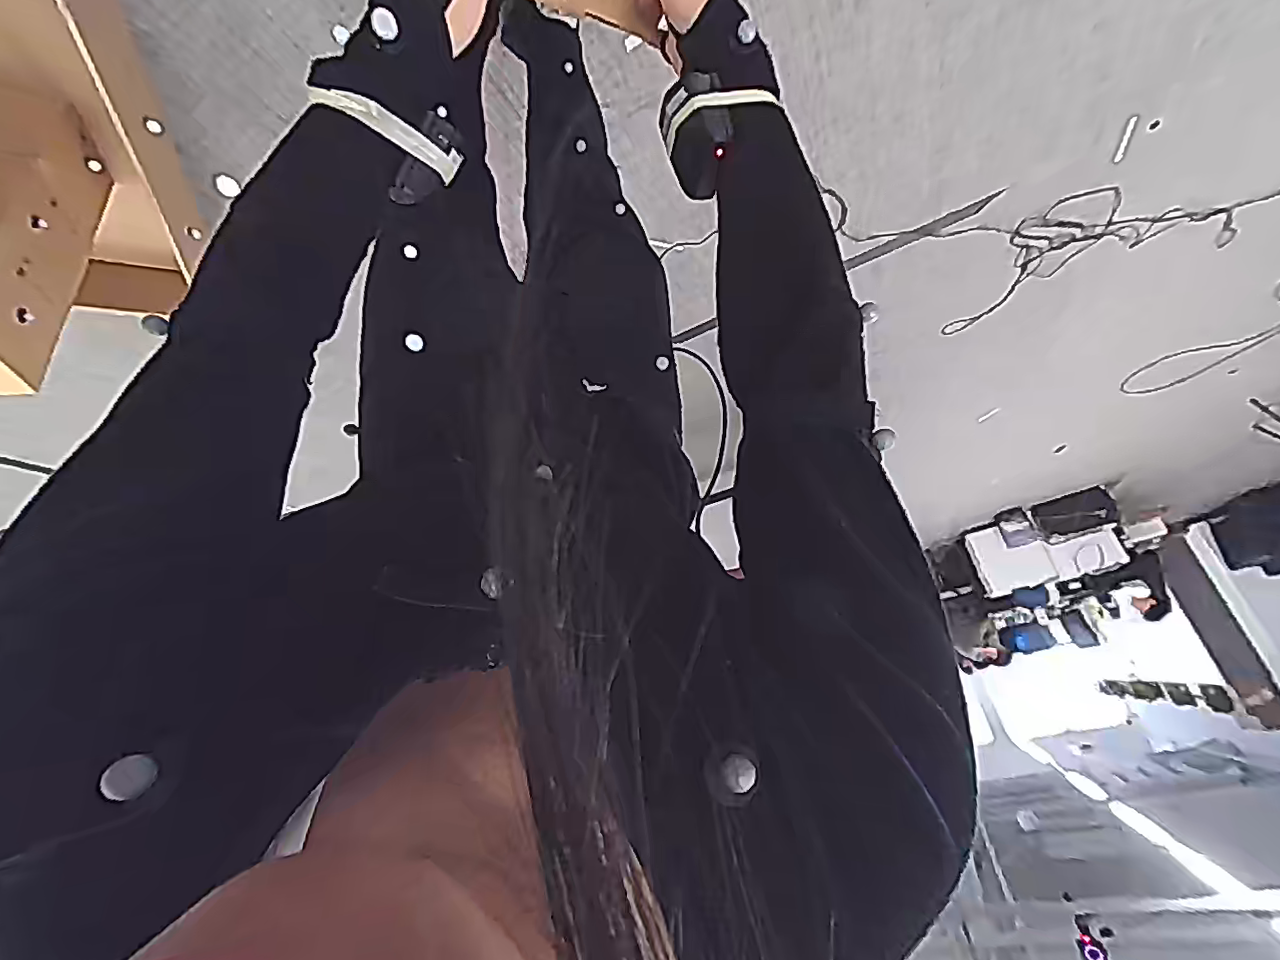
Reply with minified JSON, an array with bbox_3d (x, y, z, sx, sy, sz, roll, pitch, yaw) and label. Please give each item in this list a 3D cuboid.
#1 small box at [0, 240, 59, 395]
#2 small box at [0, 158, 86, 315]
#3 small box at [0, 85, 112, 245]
[{"bbox_3d":[-0.983,-0.236,0.760,0.179,0.176,0.168,-3,152,-18],"label":"small box"},{"bbox_3d":[-1.016,-0.380,0.835,0.179,0.176,0.168,-1,152,-18],"label":"small box"},{"bbox_3d":[-1.040,-0.527,0.898,0.179,0.176,0.168,-1,153,-23],"label":"small box"}]
